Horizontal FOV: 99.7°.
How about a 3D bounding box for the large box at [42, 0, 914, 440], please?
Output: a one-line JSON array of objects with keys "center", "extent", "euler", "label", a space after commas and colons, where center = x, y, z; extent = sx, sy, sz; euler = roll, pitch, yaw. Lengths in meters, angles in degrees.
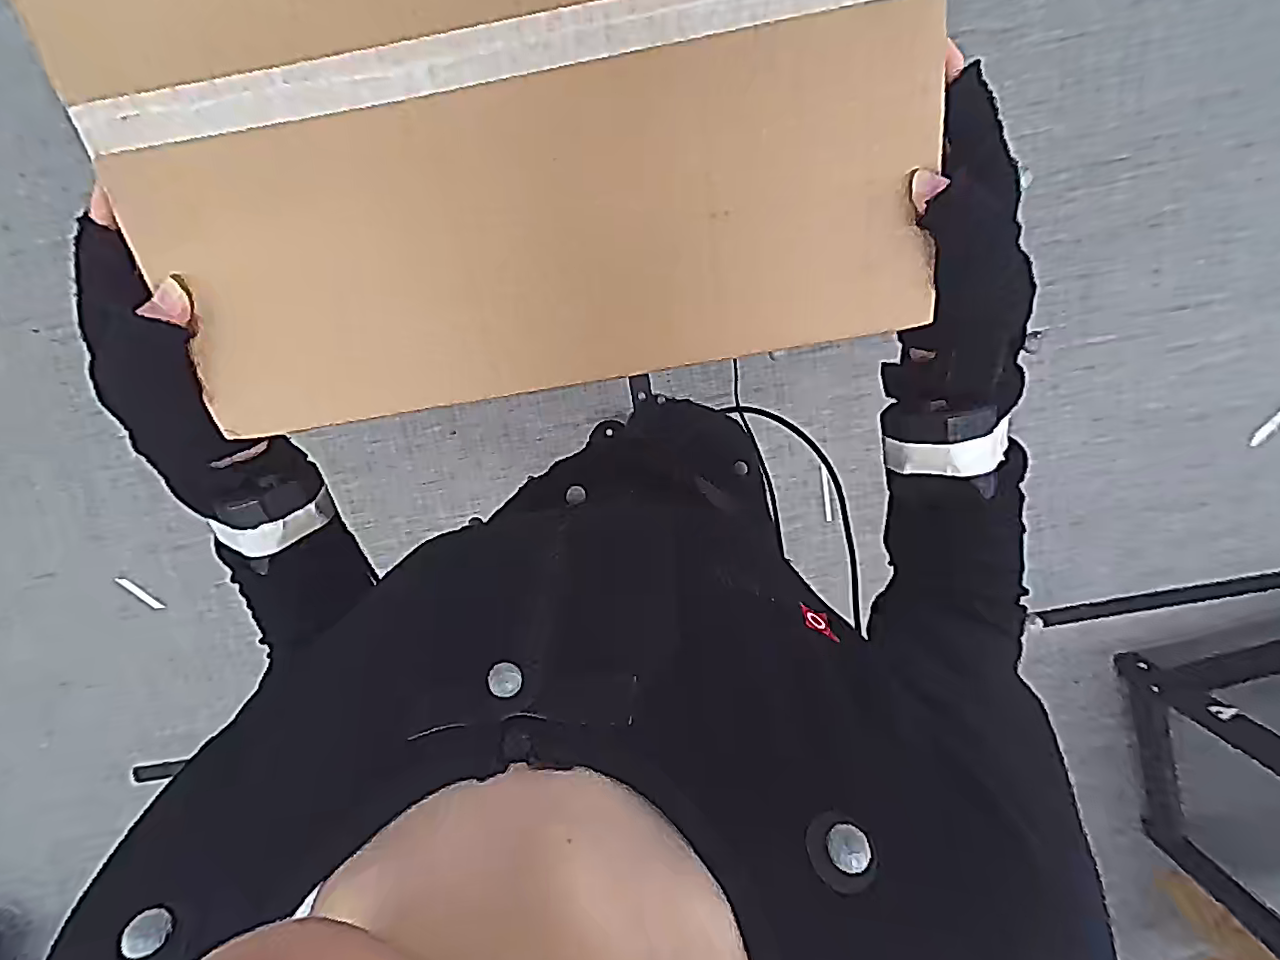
[{"center": [-0.068, -0.252, 0.398], "extent": [0.408, 0.320, 0.320], "euler": [-9, 111, 3], "label": "large box"}]
